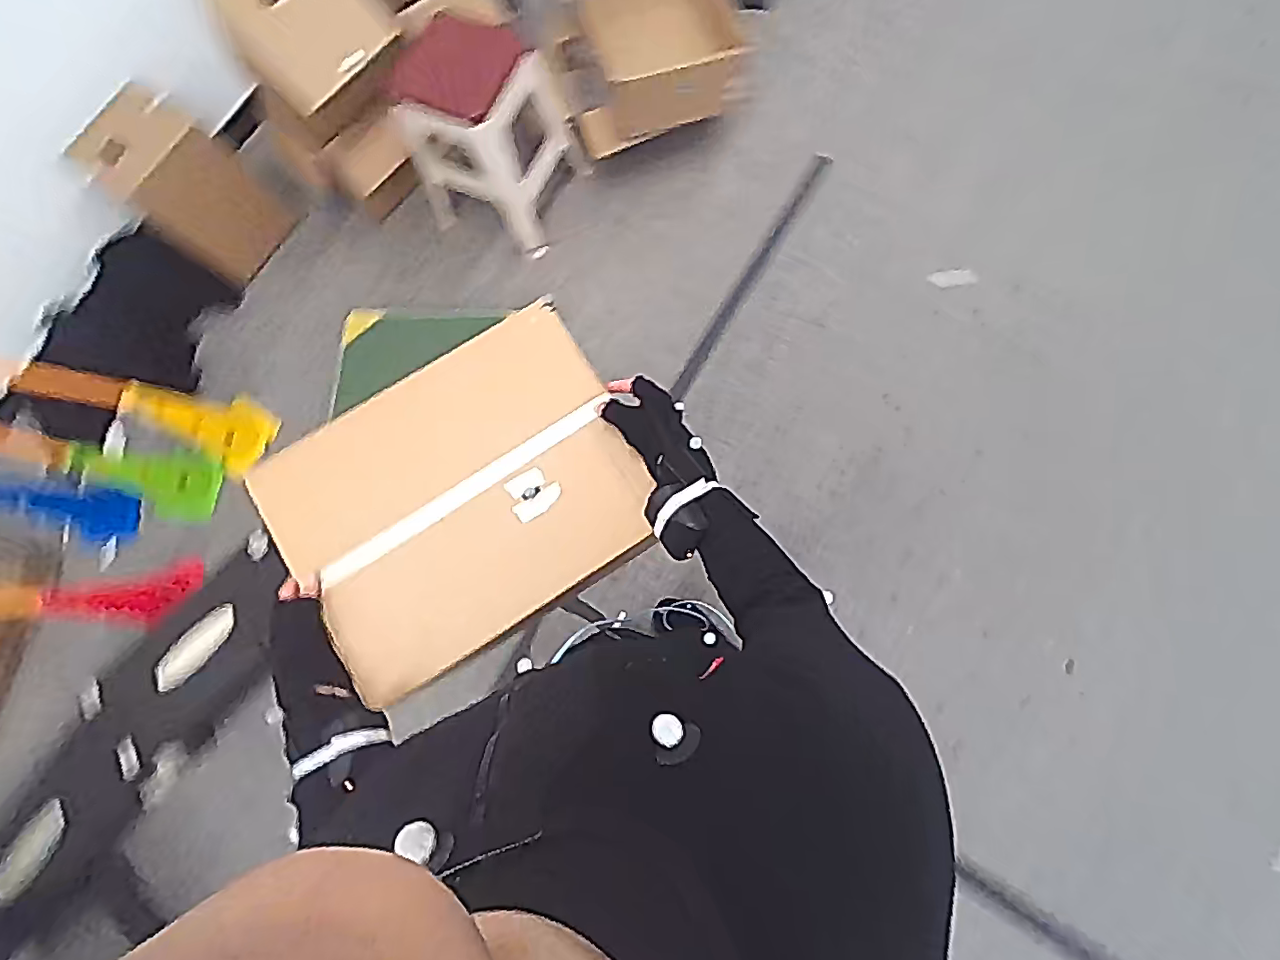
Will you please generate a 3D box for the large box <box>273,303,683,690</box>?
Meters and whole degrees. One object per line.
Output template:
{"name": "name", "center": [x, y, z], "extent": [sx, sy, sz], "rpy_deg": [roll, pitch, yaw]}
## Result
{"name": "large box", "center": [-0.194, 0.033, 0.783], "extent": [0.408, 0.320, 0.320], "rpy_deg": [-31, 82, -5]}
